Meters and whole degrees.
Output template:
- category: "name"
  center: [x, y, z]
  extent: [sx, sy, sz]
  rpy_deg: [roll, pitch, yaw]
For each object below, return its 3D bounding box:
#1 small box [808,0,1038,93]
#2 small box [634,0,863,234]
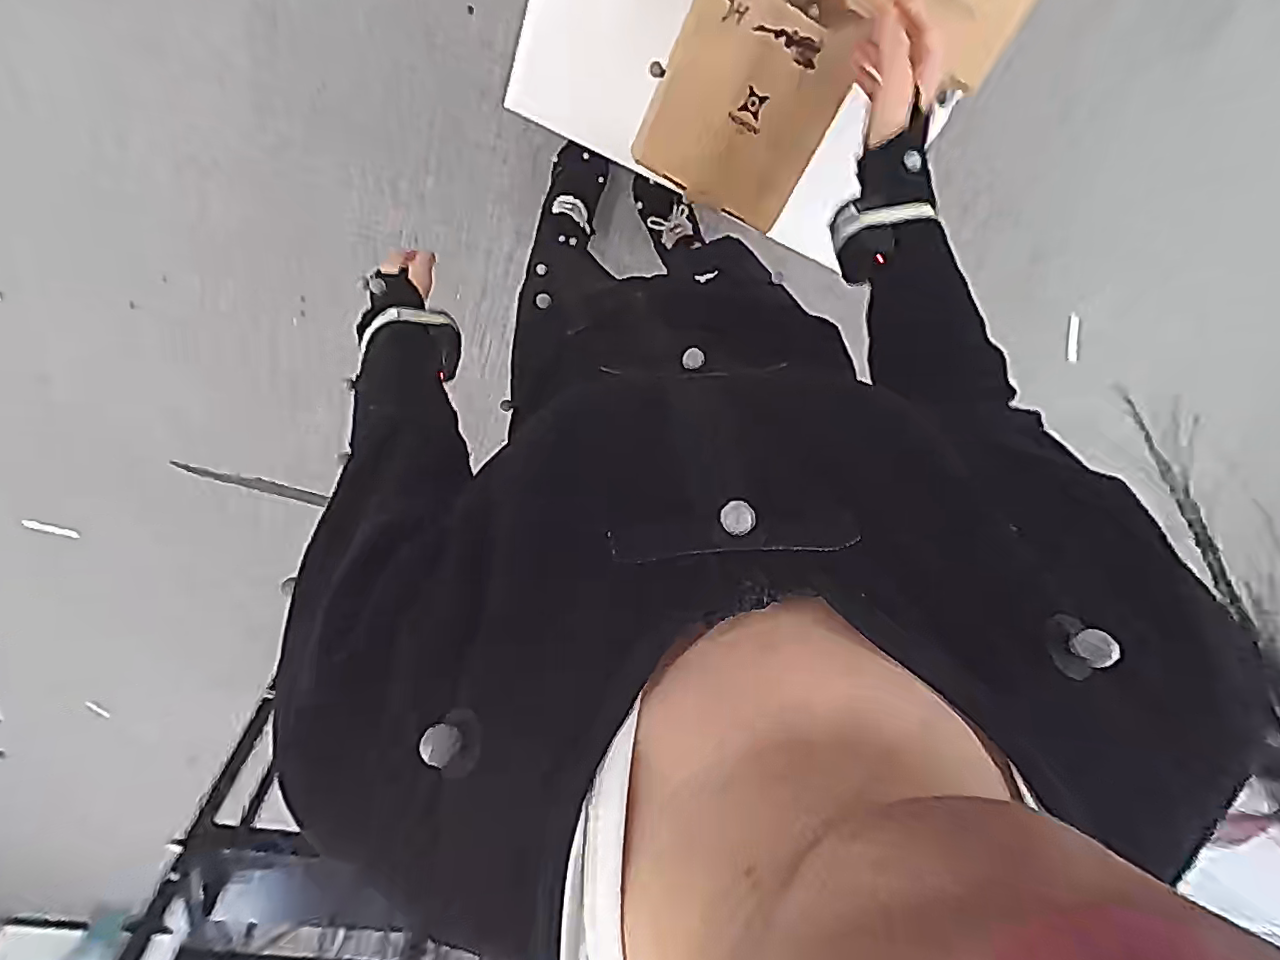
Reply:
- category: "small box"
  center: [0.292, -0.520, 0.533]
  extent: [0.168, 0.176, 0.179]
  rpy_deg: [19, 124, -14]
- category: "small box"
  center: [0.102, -0.410, 0.599]
  extent: [0.168, 0.176, 0.179]
  rpy_deg: [20, 122, -17]
